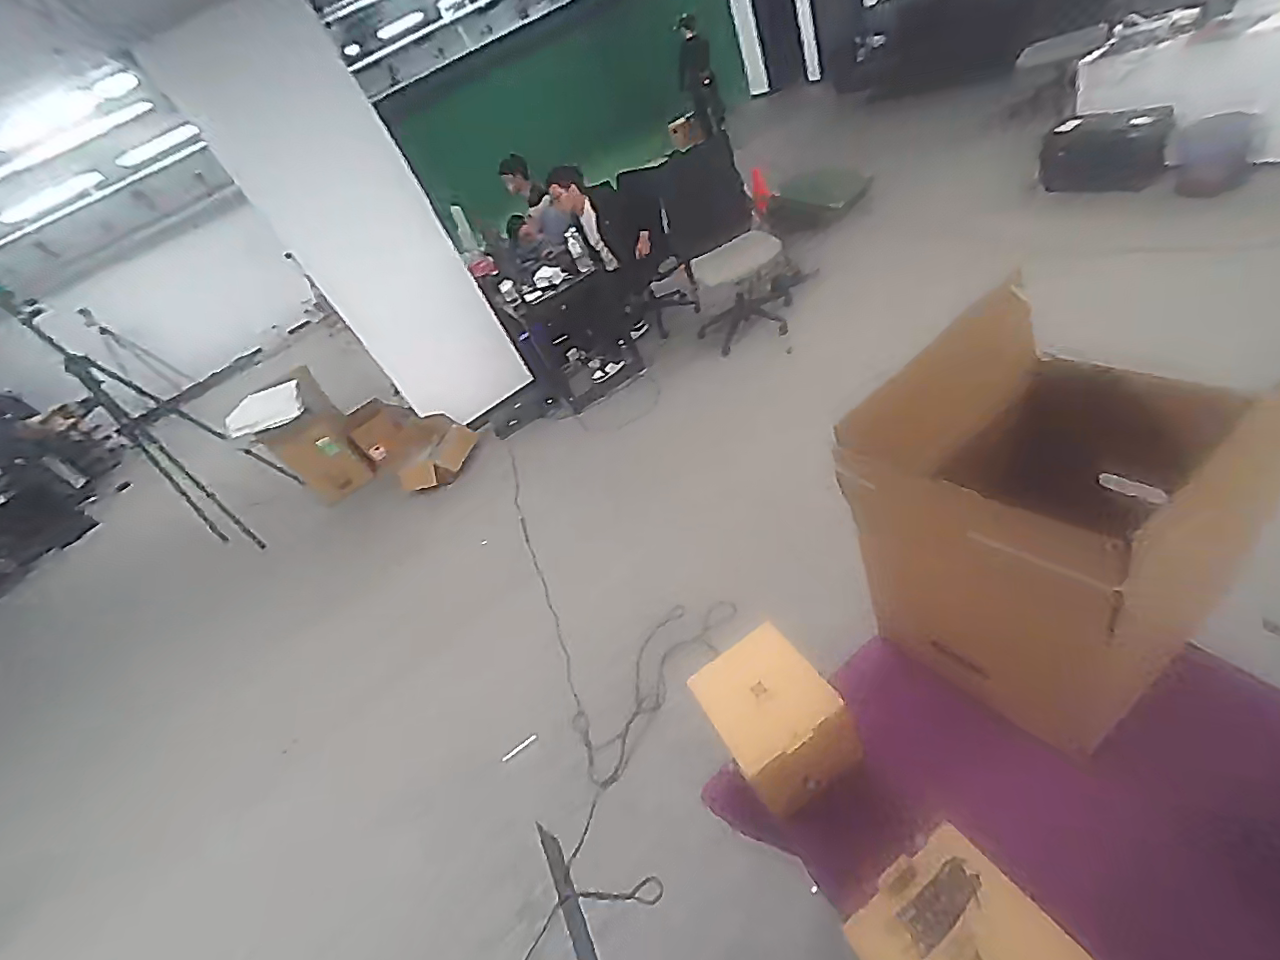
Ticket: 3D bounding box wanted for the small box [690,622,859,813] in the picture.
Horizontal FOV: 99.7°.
[{"bbox_3d":[0.206,0.362,0.827,0.168,0.176,0.179,-34,38,-8],"label":"small box"}]
